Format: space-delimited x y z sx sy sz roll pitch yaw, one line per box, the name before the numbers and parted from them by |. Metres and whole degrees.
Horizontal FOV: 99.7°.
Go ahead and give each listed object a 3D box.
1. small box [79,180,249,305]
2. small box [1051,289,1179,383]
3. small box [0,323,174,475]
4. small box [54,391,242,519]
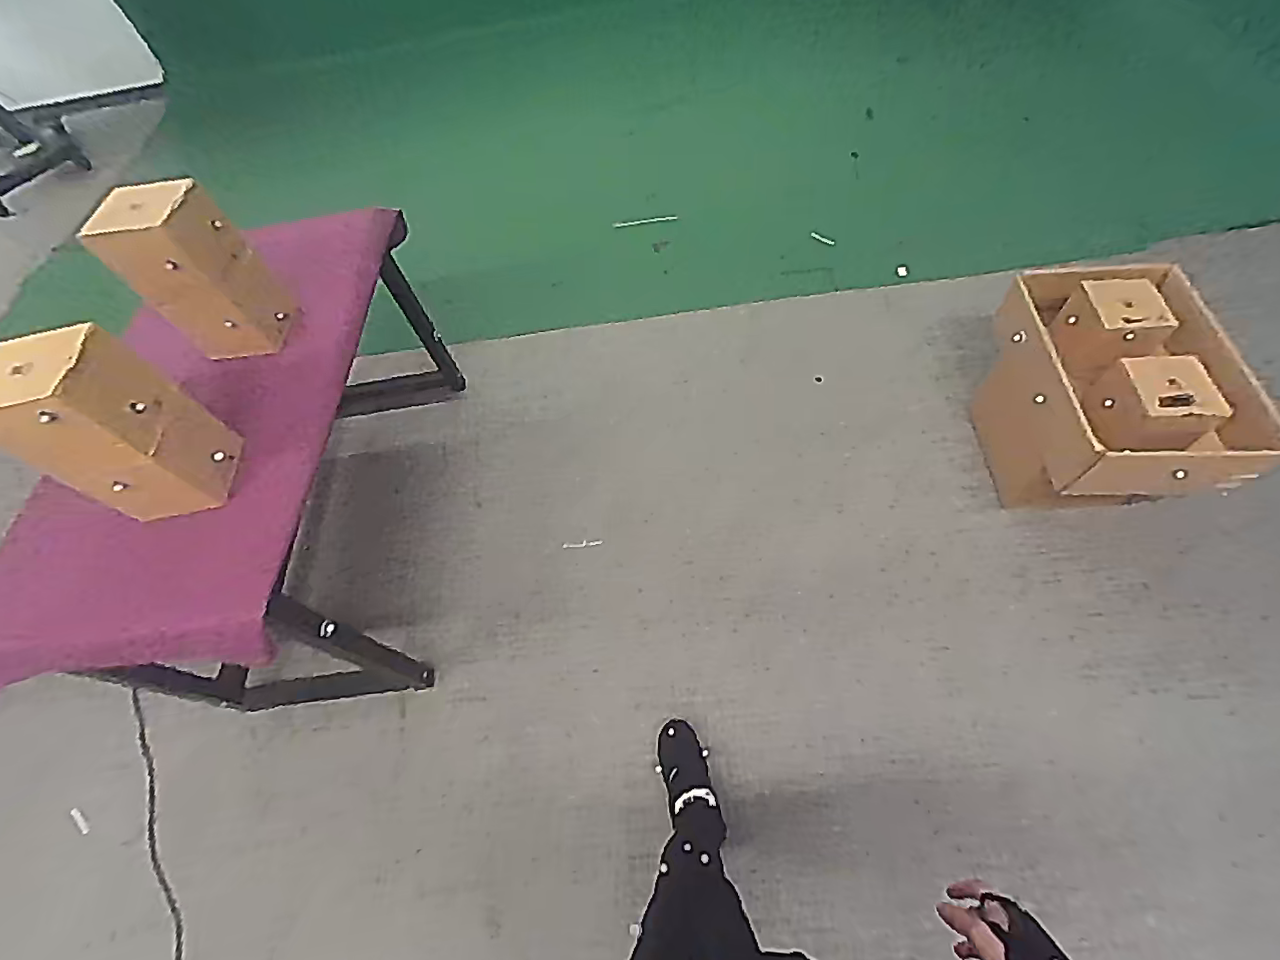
small box | -0.968 -0.488 1.123 0.179 0.176 0.168 -5 58 4
small box | 1.231 -0.377 1.421 0.168 0.176 0.179 0 57 7
small box | -0.943 -0.128 0.897 0.179 0.176 0.168 -12 57 0
small box | -0.921 -0.040 1.032 0.179 0.176 0.168 -10 58 1
